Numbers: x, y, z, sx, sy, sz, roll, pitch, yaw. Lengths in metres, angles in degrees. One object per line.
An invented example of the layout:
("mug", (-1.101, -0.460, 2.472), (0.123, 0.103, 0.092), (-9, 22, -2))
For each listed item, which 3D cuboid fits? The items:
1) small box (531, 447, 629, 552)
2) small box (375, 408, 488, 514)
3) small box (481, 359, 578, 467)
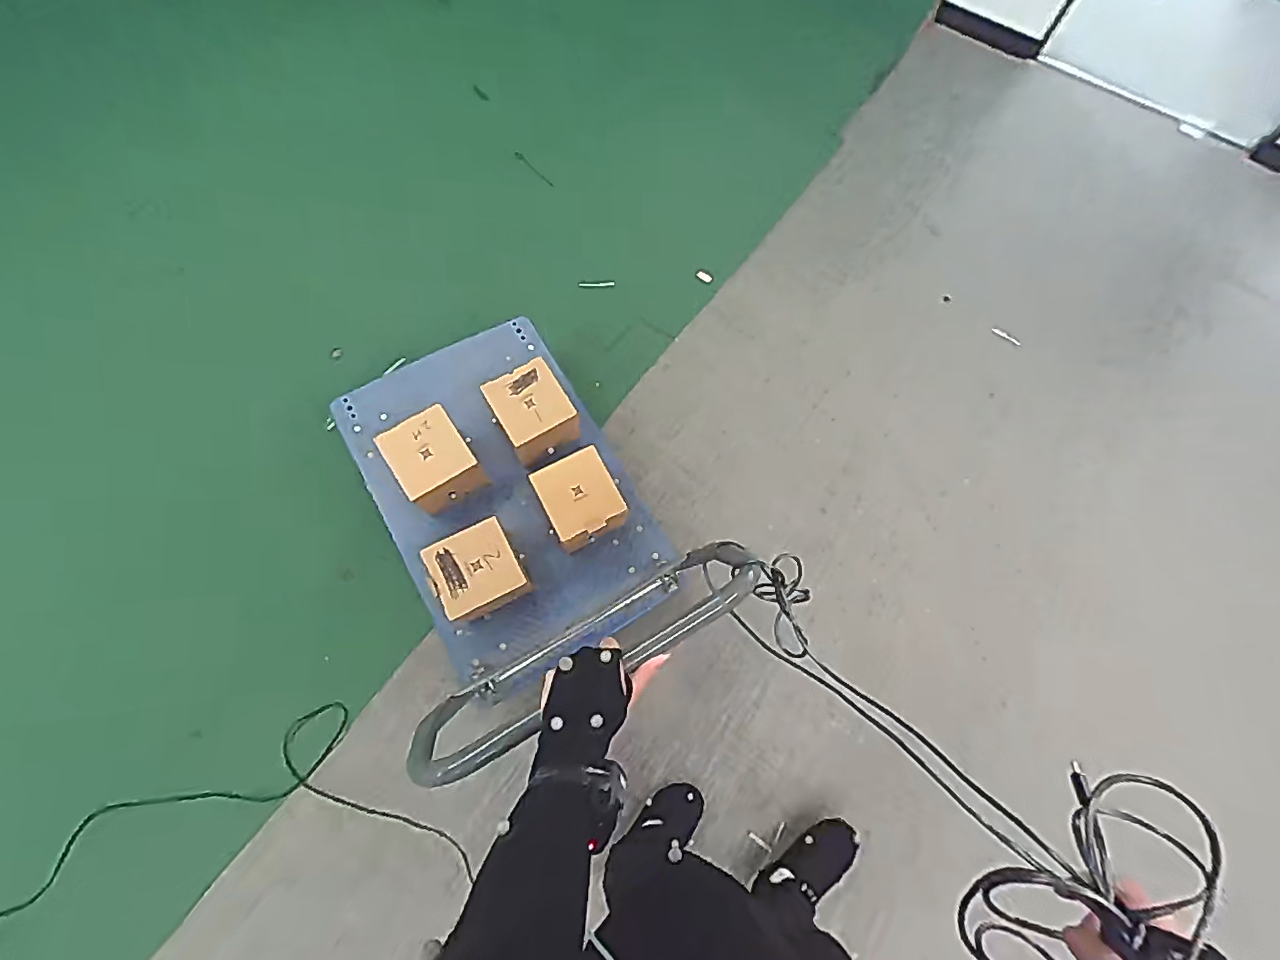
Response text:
("small box", (-0.143, 0.053, 1.284), (0.168, 0.176, 0.179), (-28, 79, -11))
("small box", (-0.483, -0.034, 1.279), (0.168, 0.176, 0.179), (-33, 79, -13))
("small box", (-0.266, -0.158, 1.332), (0.168, 0.176, 0.179), (-31, 80, -12))
